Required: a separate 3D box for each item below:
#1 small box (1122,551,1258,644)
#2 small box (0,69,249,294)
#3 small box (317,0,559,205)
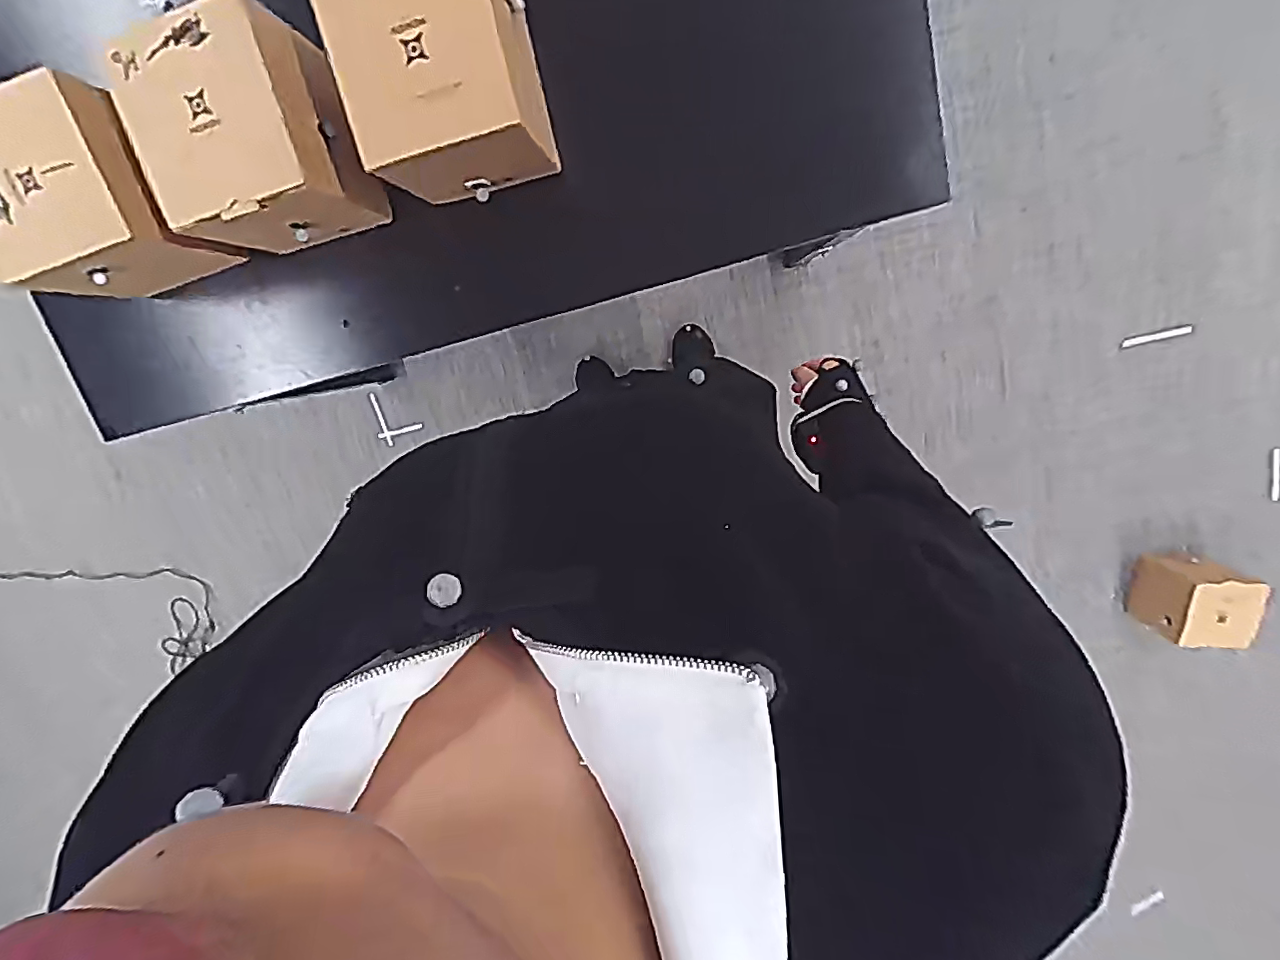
[{"bbox_3d":[1.408,0.301,1.401,0.168,0.176,0.179,0,106,5],"label":"small box"},{"bbox_3d":[-0.627,-0.330,0.641,0.179,0.176,0.168,-15,103,8],"label":"small box"},{"bbox_3d":[-0.201,-0.425,0.583,0.168,0.176,0.179,-12,104,9],"label":"small box"}]
